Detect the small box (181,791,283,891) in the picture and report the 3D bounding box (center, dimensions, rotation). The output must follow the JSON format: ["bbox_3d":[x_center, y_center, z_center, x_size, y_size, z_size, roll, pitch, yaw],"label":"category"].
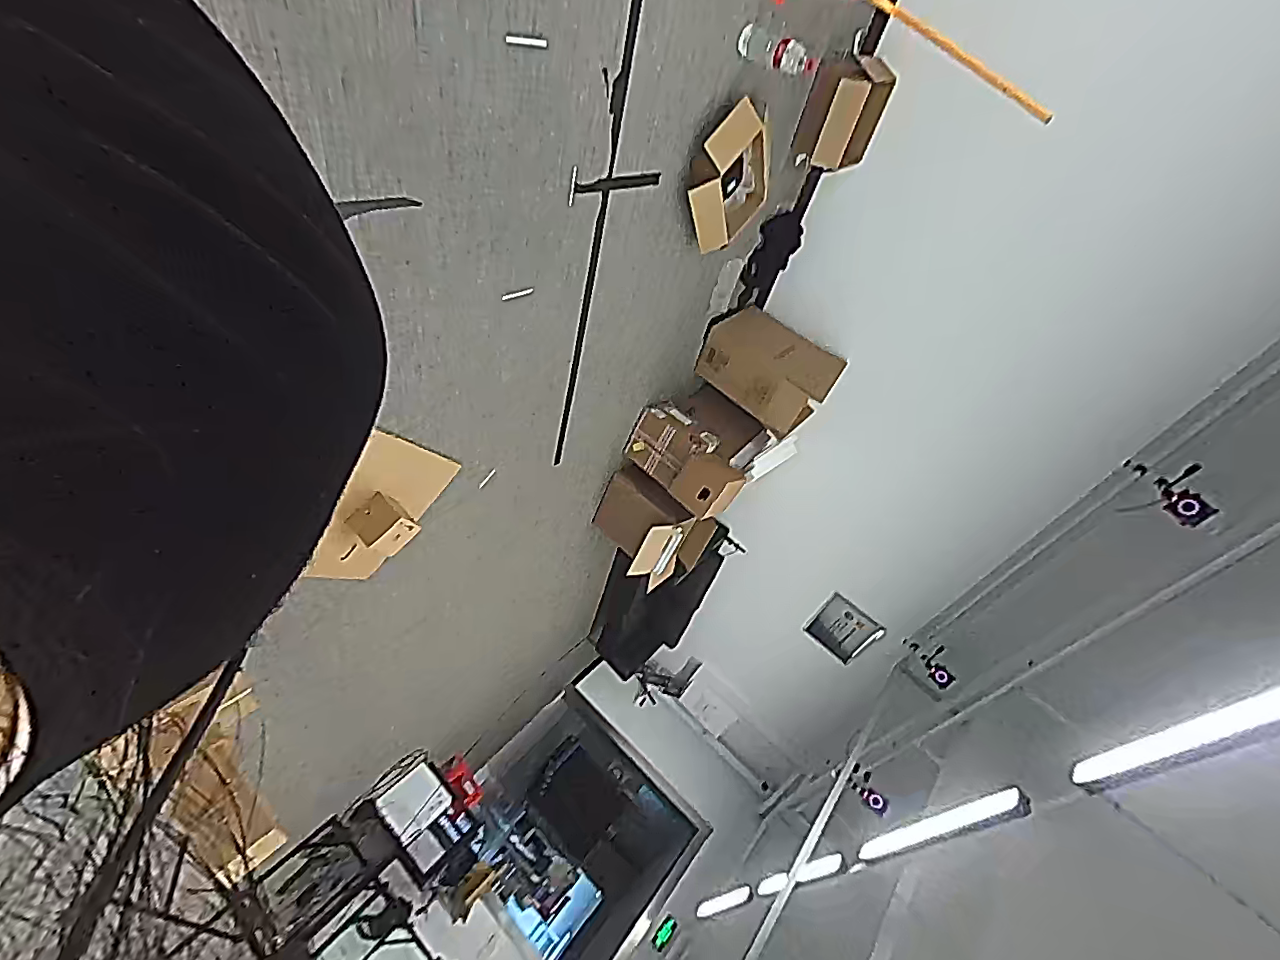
[{"bbox_3d":[-1.191,1.053,1.584,0.168,0.176,0.179,-35,155,-39],"label":"small box"}]

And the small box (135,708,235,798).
[{"bbox_3d":[-1.426,0.851,1.696,0.168,0.176,0.179,-35,156,-37],"label":"small box"}]

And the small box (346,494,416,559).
[{"bbox_3d":[-1.068,0.191,2.218,0.179,0.176,0.168,-44,161,-10],"label":"small box"}]
